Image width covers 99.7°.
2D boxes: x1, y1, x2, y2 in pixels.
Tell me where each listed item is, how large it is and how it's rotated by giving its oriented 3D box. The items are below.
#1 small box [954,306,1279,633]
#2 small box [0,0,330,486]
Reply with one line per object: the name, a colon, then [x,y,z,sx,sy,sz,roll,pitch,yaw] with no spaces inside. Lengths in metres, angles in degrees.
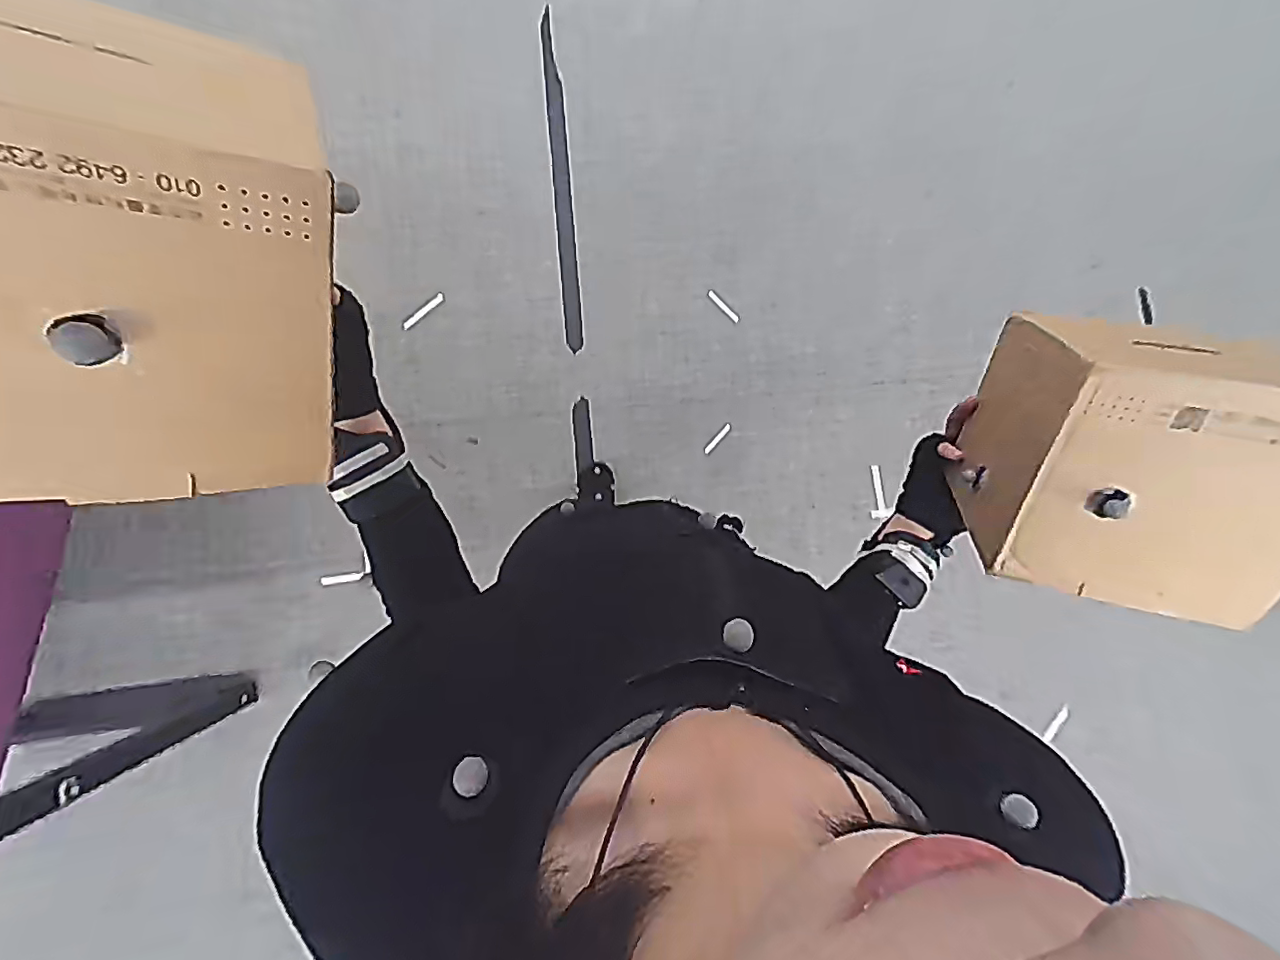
small box: [0.366,-0.025,0.401,0.168,0.179,0.176,13,121,13]
small box: [-0.243,-0.116,0.247,0.168,0.176,0.179,-3,44,-32]
